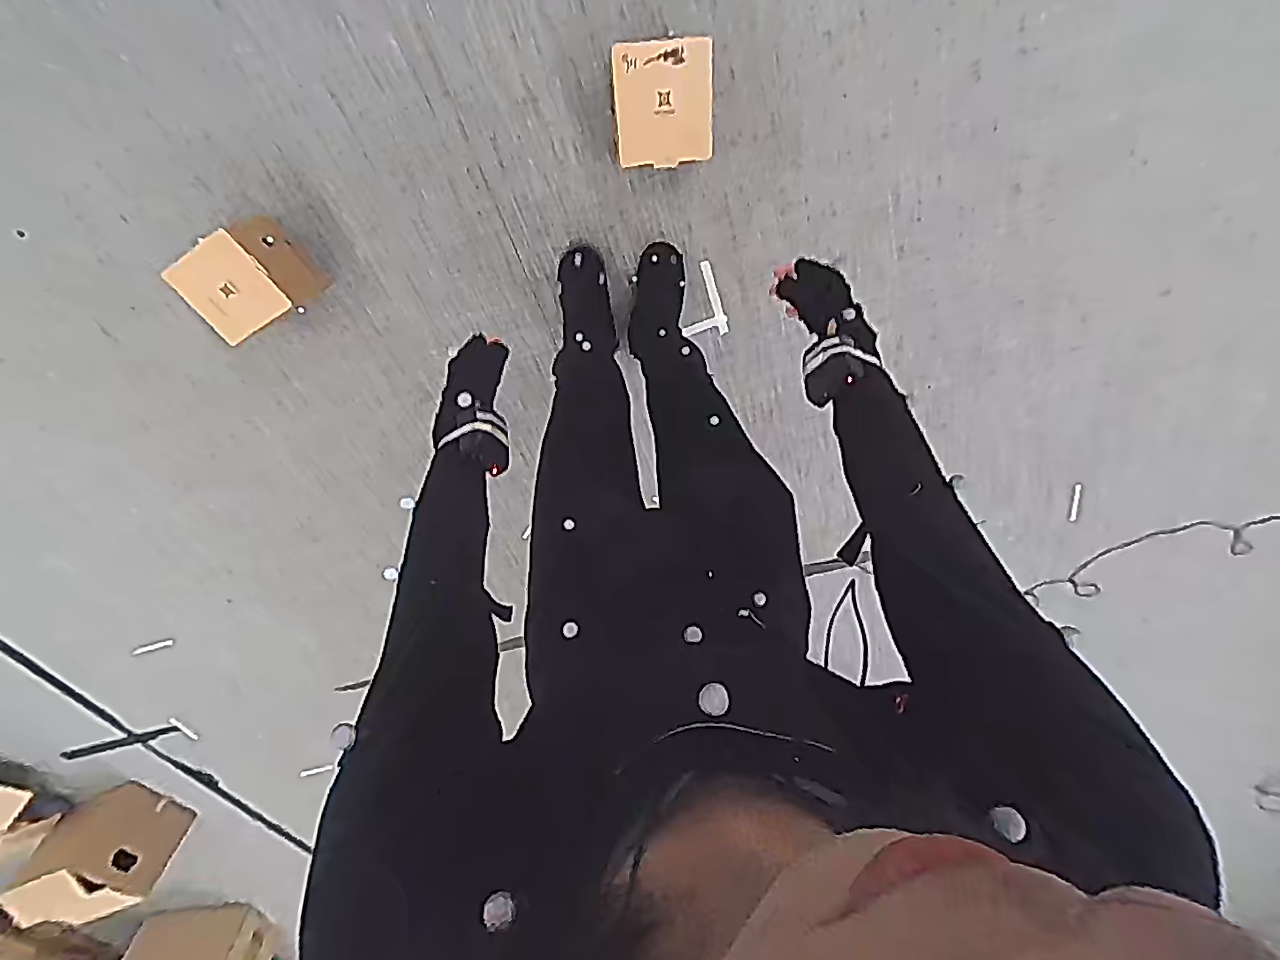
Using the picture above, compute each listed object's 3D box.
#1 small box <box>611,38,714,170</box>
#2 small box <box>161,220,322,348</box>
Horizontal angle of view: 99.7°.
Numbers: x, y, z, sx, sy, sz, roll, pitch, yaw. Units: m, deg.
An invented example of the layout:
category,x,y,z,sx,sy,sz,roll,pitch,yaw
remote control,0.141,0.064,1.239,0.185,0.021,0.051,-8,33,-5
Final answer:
category,x,y,z,sx,sy,sz,roll,pitch,yaw
small box,0.037,-0.669,0.970,0.168,0.176,0.179,-5,123,-1
small box,-0.787,-0.402,1.096,0.179,0.176,0.168,-26,119,14
